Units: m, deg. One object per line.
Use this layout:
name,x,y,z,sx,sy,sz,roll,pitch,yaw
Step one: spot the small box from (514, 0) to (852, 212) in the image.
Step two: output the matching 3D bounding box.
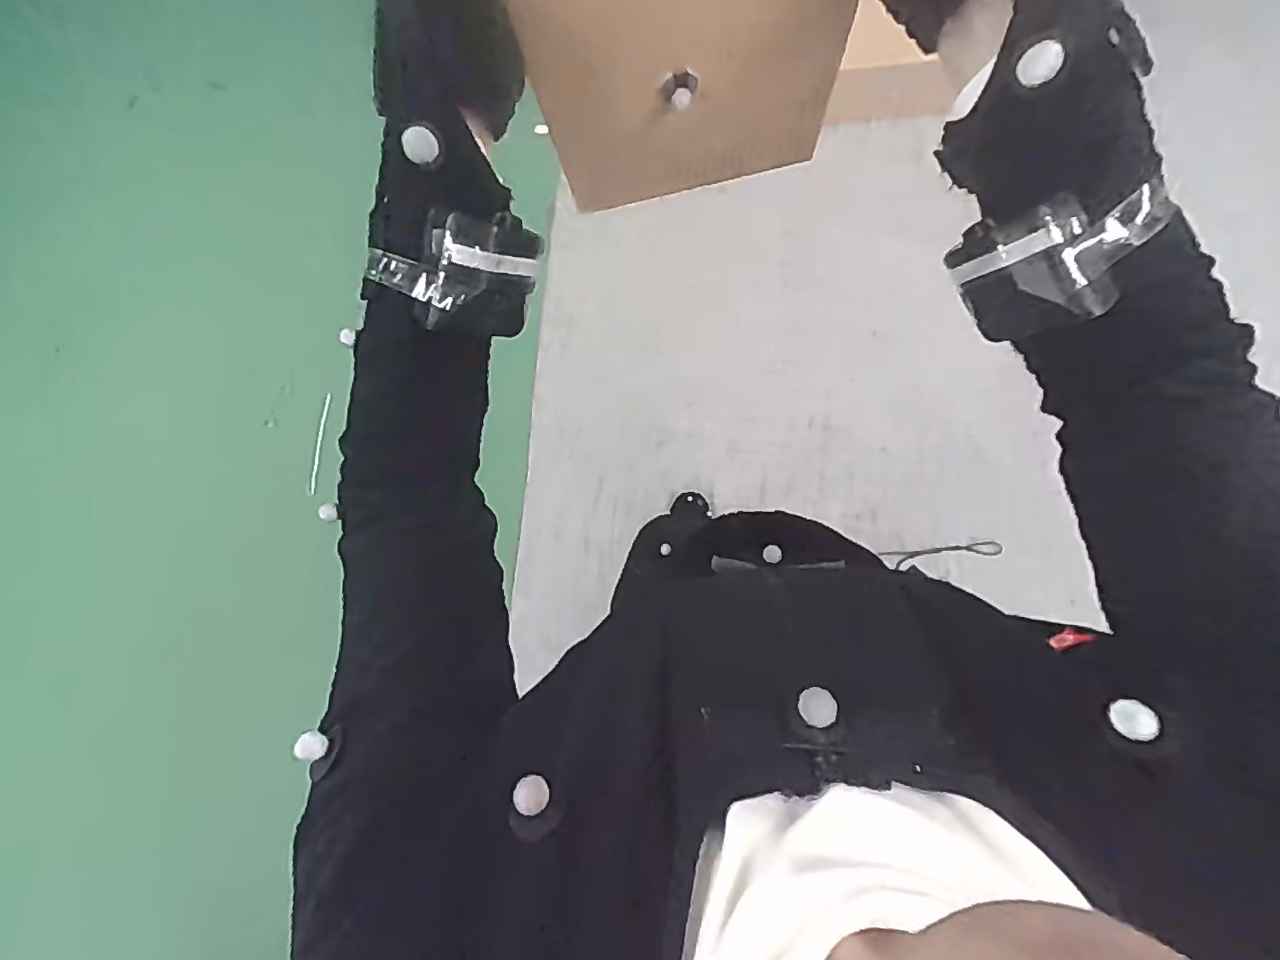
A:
small box,0.021,-0.310,0.351,0.179,0.176,0.168,-10,82,6
